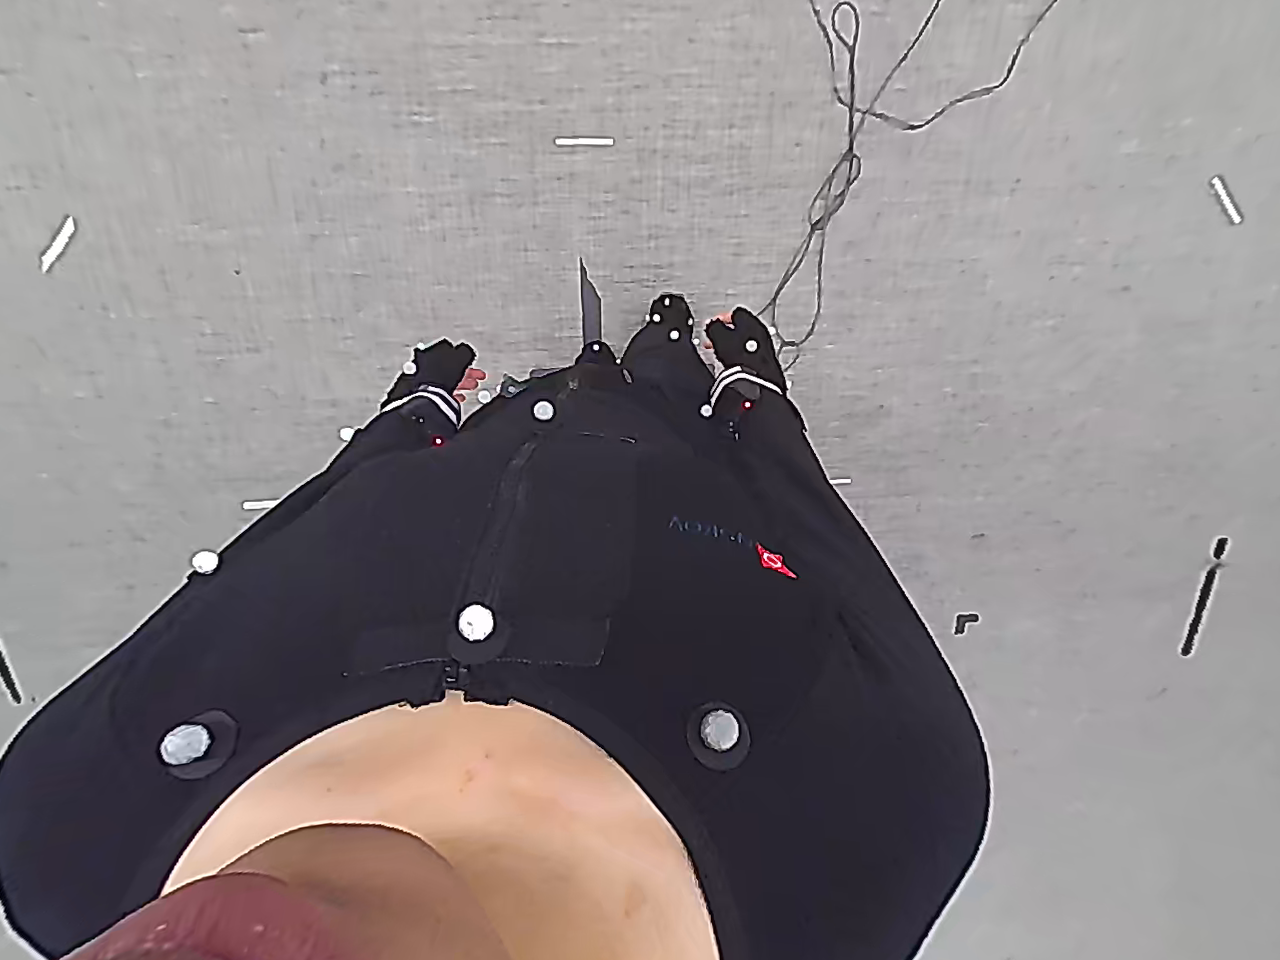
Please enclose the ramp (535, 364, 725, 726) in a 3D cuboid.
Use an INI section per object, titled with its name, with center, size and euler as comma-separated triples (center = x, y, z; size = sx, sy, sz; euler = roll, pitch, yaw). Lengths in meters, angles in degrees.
[ramp]
center = -0.023, 0.194, 1.491
size = 0.509, 0.206, 0.991
euler = -3, 106, 1
